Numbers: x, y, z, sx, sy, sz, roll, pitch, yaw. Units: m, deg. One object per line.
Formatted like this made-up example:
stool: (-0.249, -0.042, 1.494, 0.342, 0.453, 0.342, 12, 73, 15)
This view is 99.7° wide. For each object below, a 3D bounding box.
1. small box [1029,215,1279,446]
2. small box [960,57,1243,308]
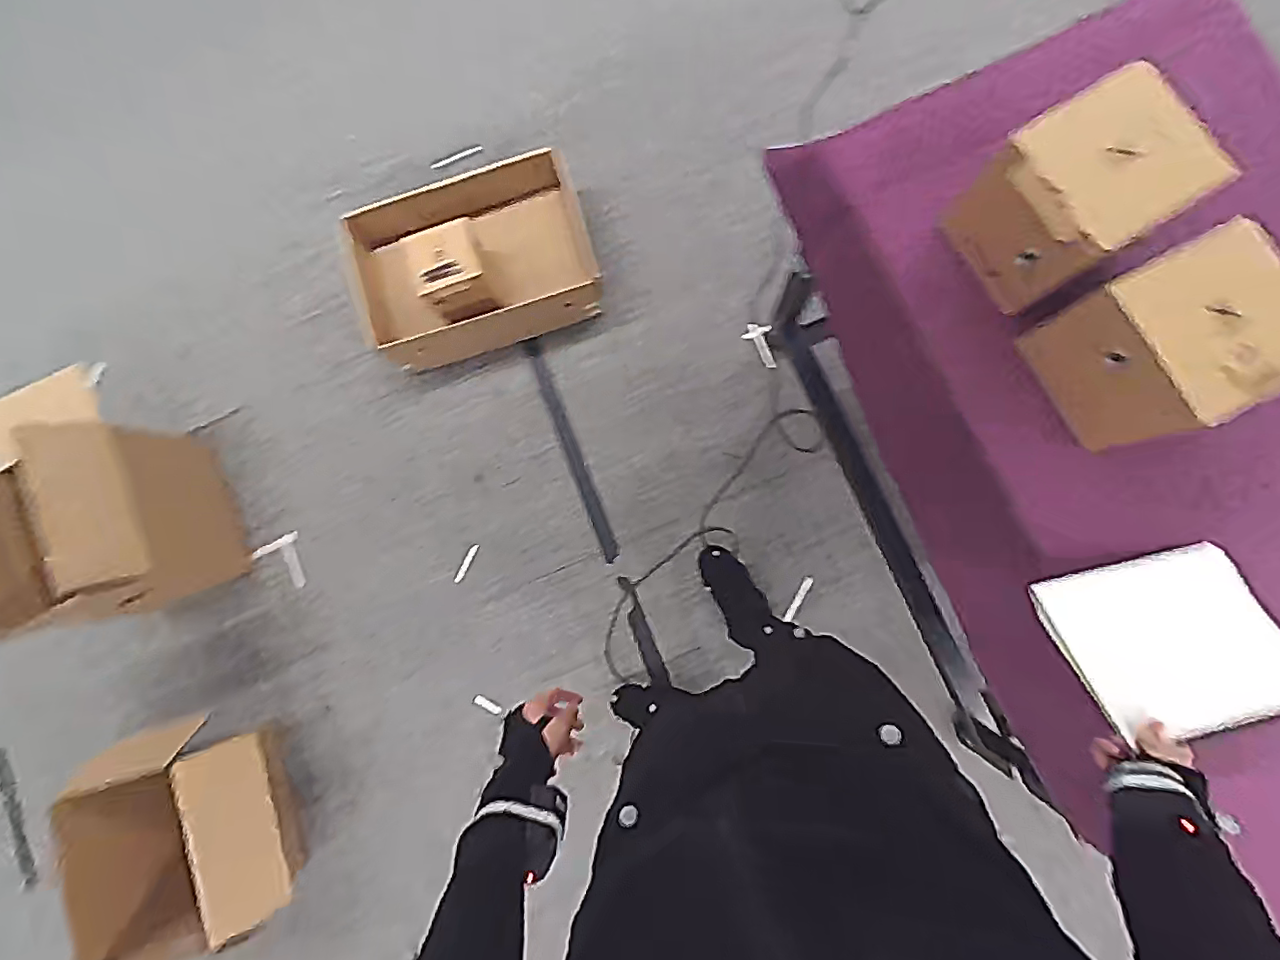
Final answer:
small box: (0.616, -0.159, 0.635, 0.168, 0.176, 0.179, -27, 83, 2)
small box: (0.533, -0.345, 0.663, 0.179, 0.176, 0.168, -31, 83, 1)
